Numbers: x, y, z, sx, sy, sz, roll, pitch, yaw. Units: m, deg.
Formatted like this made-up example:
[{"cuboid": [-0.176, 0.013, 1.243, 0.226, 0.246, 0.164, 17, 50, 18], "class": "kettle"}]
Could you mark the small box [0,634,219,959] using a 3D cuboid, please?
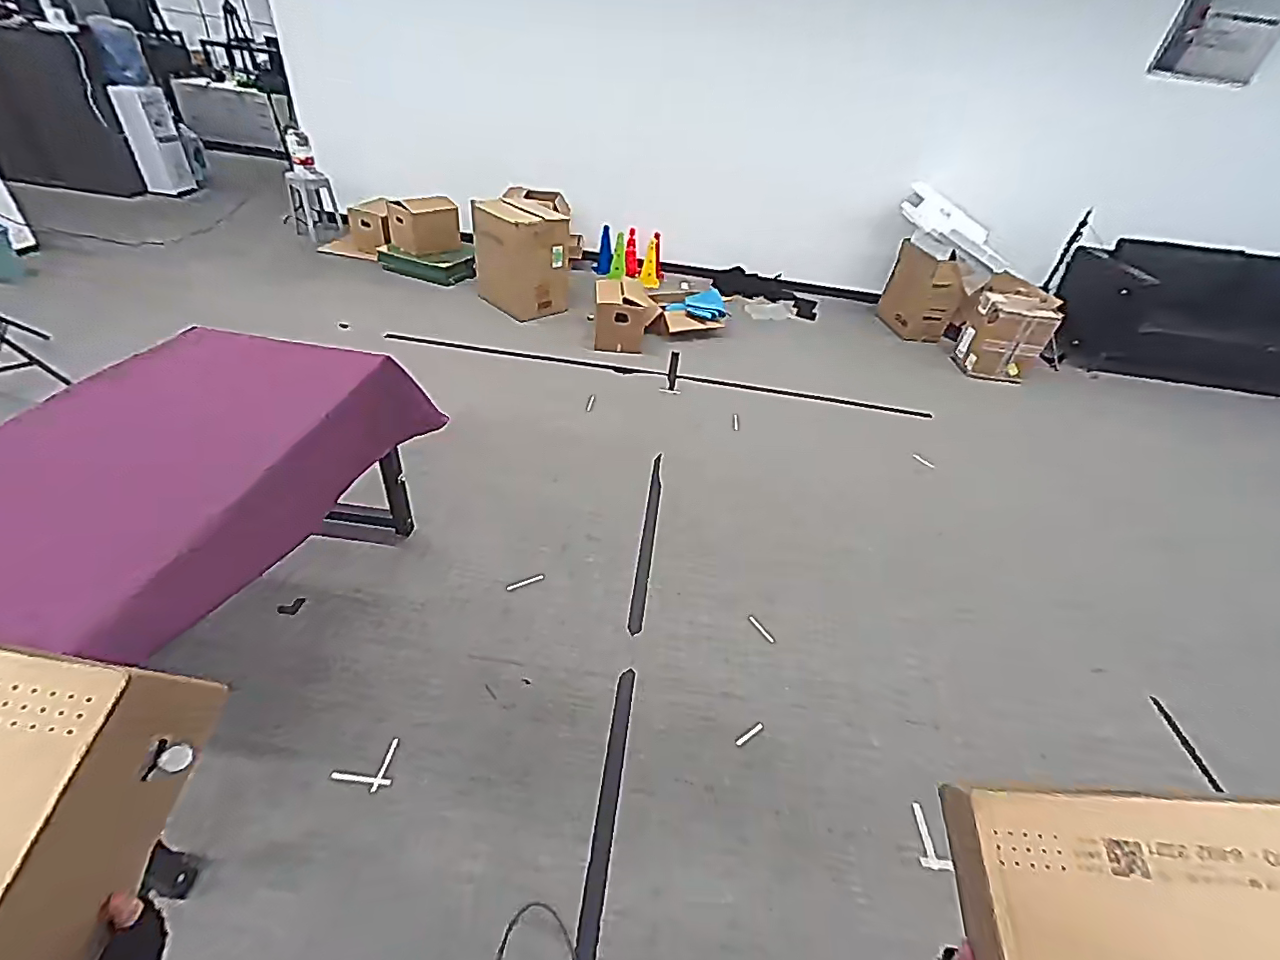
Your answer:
[{"cuboid": [-0.339, 0.154, 0.244, 0.168, 0.179, 0.176, 20, 61, -16], "class": "small box"}]
